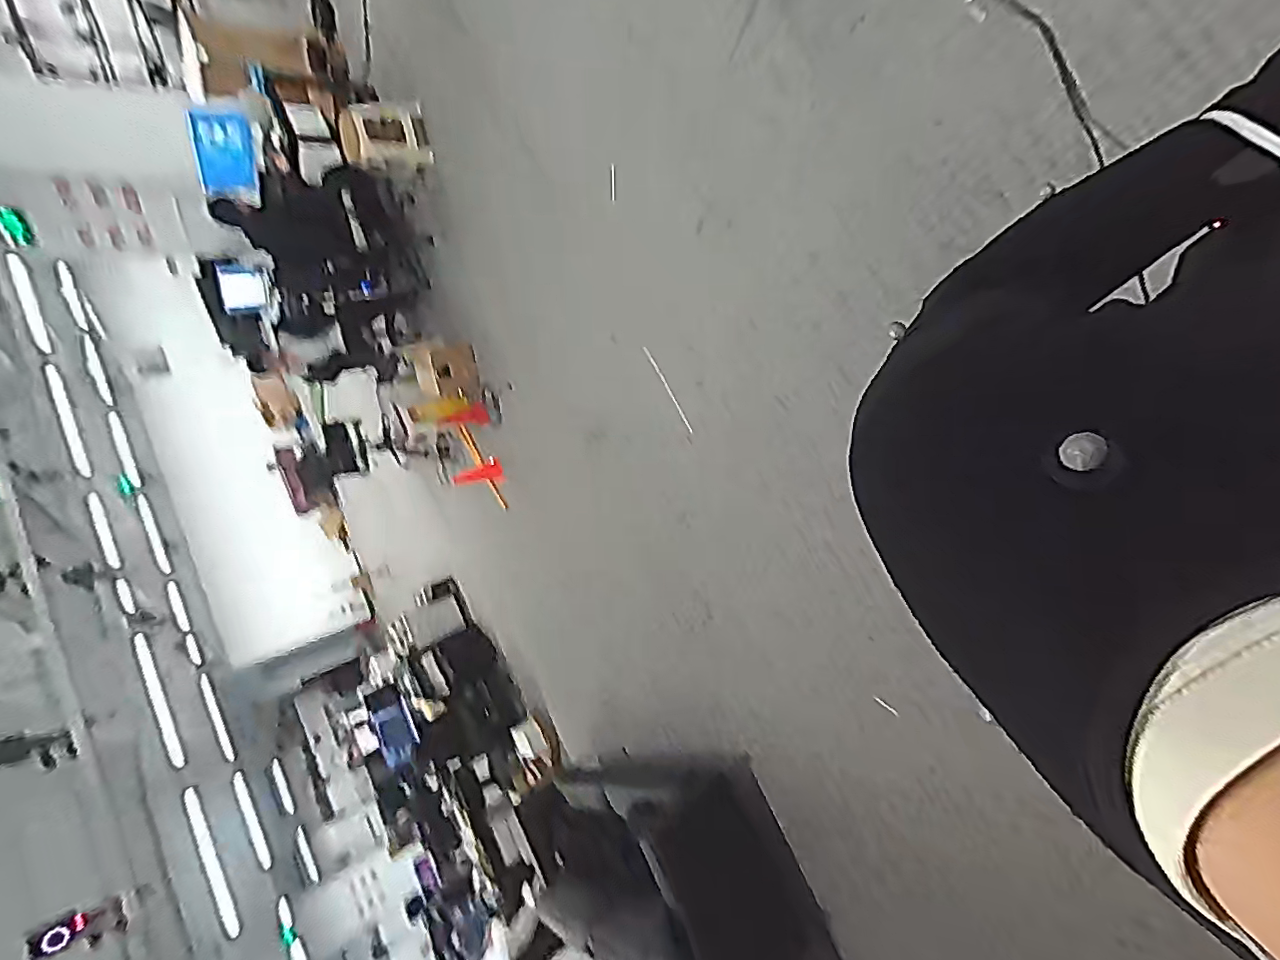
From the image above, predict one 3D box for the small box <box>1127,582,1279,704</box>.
[{"bbox_3d":[1.143,0.325,1.092,0.168,0.176,0.179,-29,83,54],"label":"small box"}]
